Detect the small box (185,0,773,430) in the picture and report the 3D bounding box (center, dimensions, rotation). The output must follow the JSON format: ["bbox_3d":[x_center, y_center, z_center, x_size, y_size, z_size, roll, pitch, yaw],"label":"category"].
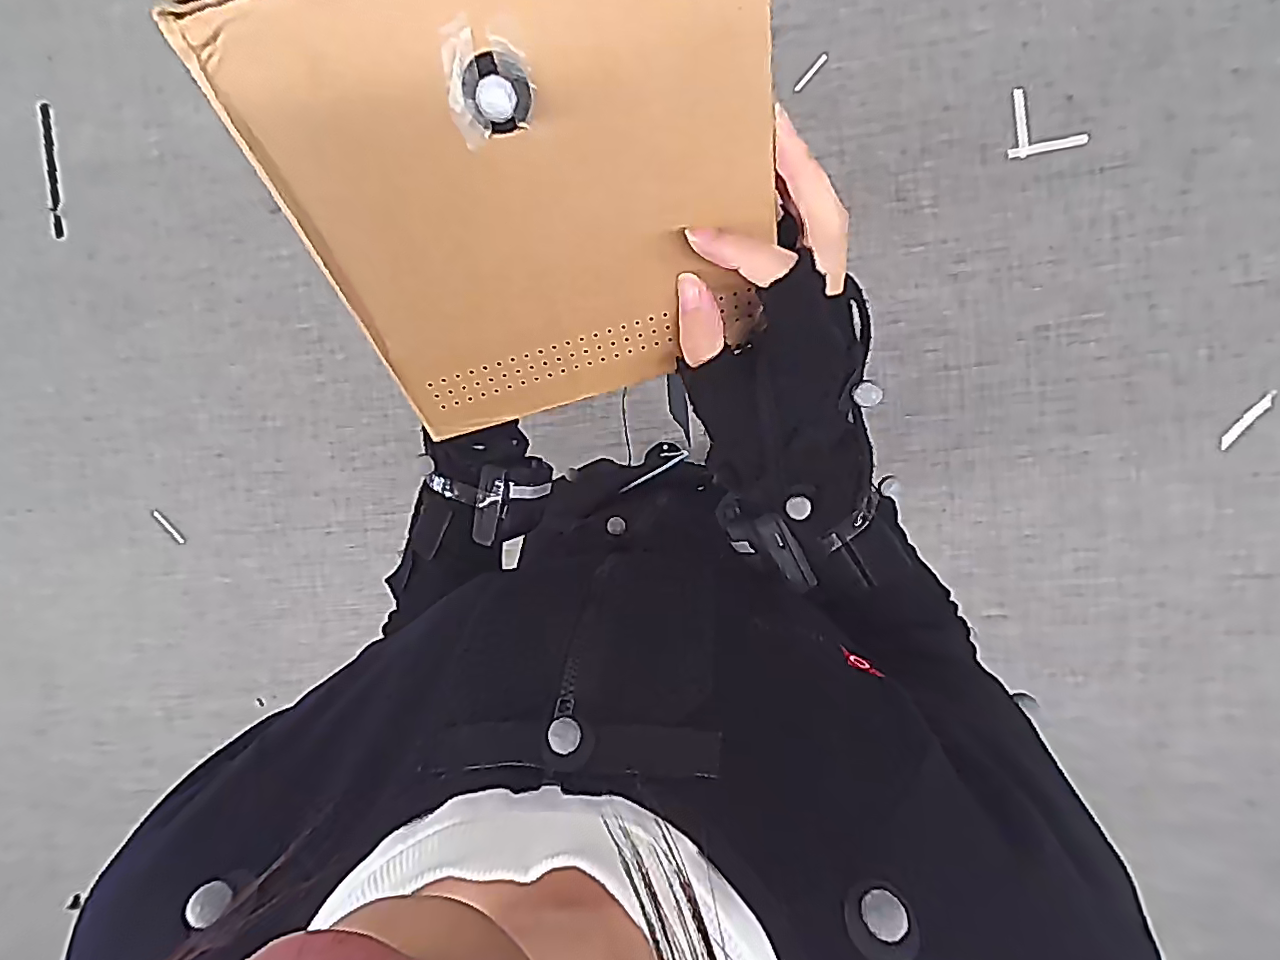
[{"bbox_3d":[-0.045,-0.148,0.264,0.179,0.168,0.176,-16,136,1],"label":"small box"}]
